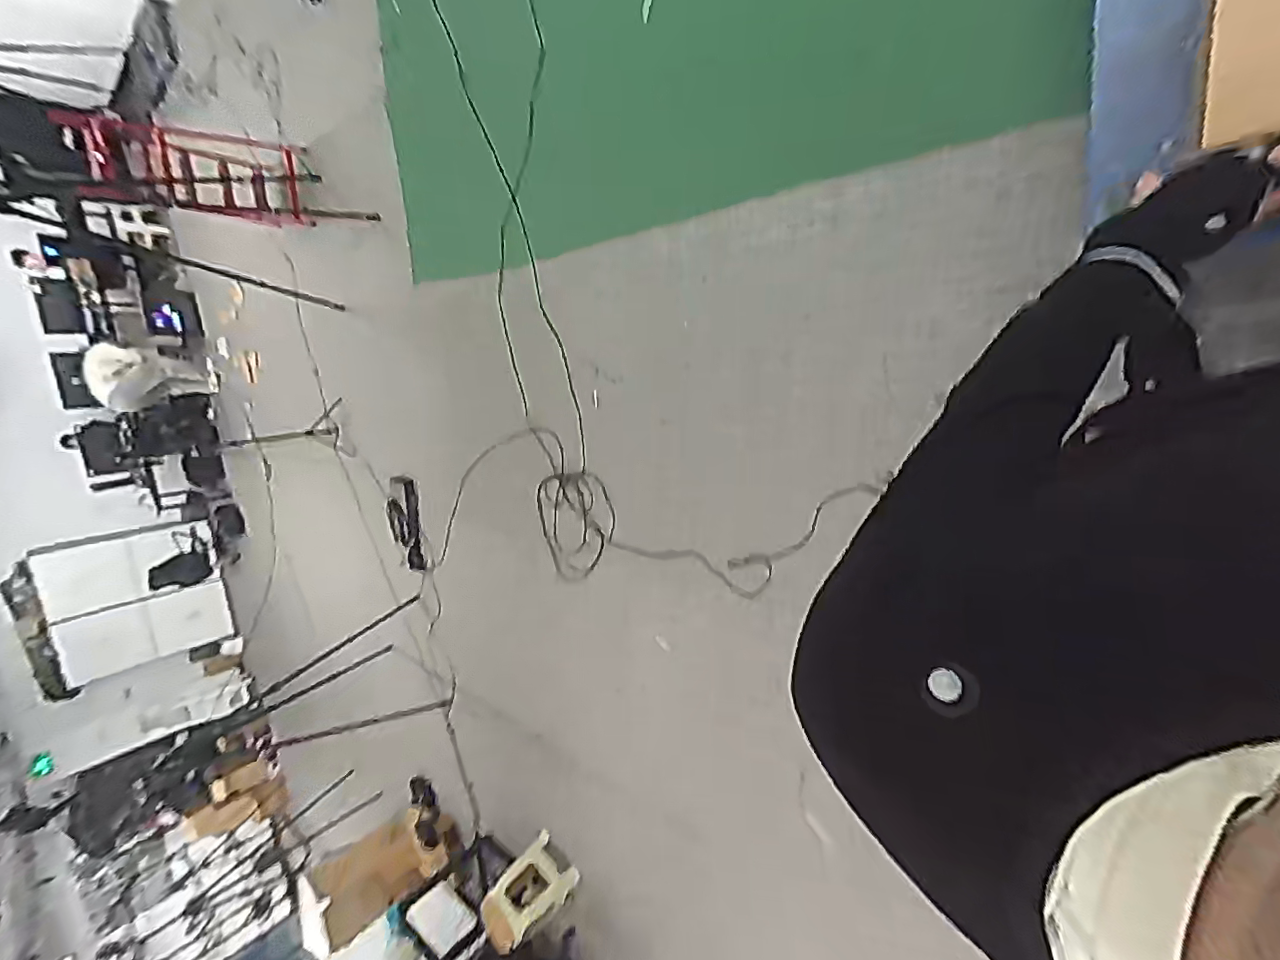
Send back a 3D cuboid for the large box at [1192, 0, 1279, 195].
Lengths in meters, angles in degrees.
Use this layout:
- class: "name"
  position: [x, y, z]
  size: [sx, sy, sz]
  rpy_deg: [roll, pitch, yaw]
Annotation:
- class: "large box"
  position: [0.988, -0.671, 0.734]
  size: [0.320, 0.320, 0.408]
  rpy_deg: [4, 103, 41]
